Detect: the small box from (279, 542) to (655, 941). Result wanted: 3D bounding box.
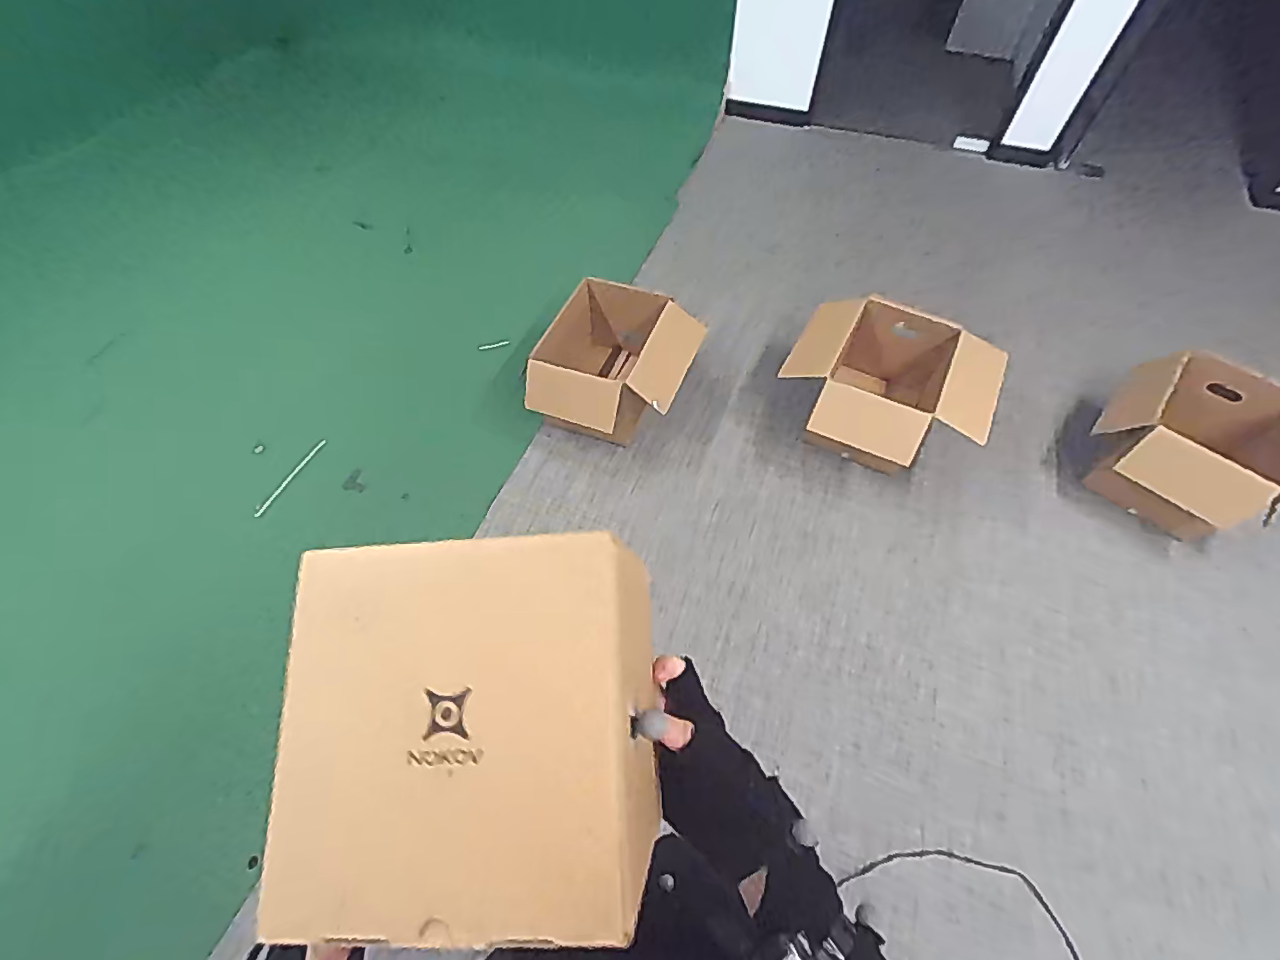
[{"bbox_3d":[-0.079,0.140,0.339,0.168,0.176,0.179,-4,76,5],"label":"small box"}]
